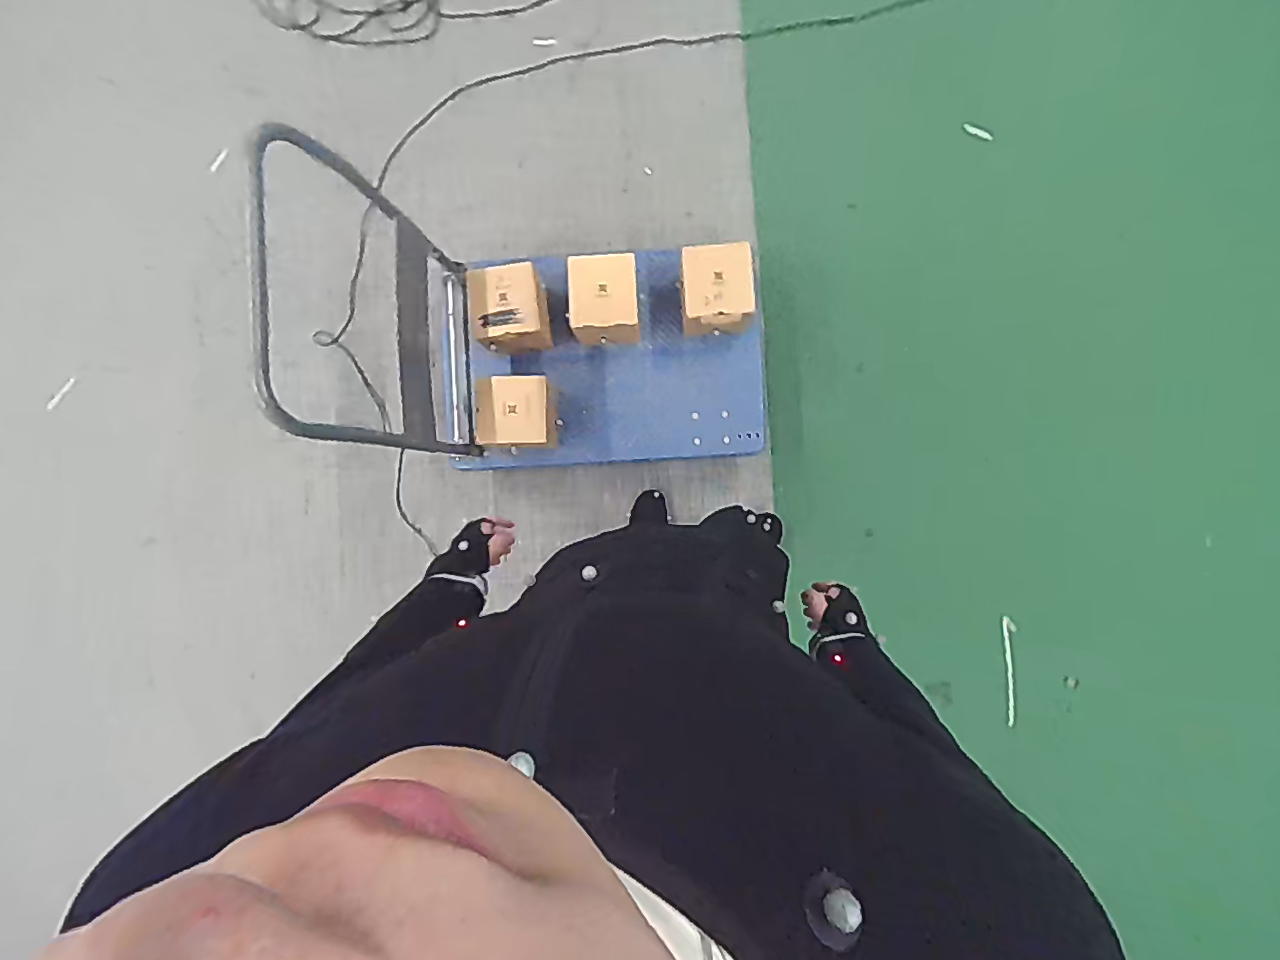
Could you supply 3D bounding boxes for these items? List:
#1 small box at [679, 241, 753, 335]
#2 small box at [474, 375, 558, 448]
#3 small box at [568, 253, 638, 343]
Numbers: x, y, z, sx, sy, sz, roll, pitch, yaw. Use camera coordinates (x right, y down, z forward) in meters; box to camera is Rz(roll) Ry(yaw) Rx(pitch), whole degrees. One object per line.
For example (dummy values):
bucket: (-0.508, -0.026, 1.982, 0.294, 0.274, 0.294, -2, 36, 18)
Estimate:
small box: (0.188, -0.484, 1.380, 0.168, 0.176, 0.179, -4, 89, 3)
small box: (-0.313, -0.172, 1.392, 0.179, 0.176, 0.168, -1, 89, 1)
small box: (-0.091, -0.463, 1.392, 0.168, 0.176, 0.179, -3, 91, 1)
